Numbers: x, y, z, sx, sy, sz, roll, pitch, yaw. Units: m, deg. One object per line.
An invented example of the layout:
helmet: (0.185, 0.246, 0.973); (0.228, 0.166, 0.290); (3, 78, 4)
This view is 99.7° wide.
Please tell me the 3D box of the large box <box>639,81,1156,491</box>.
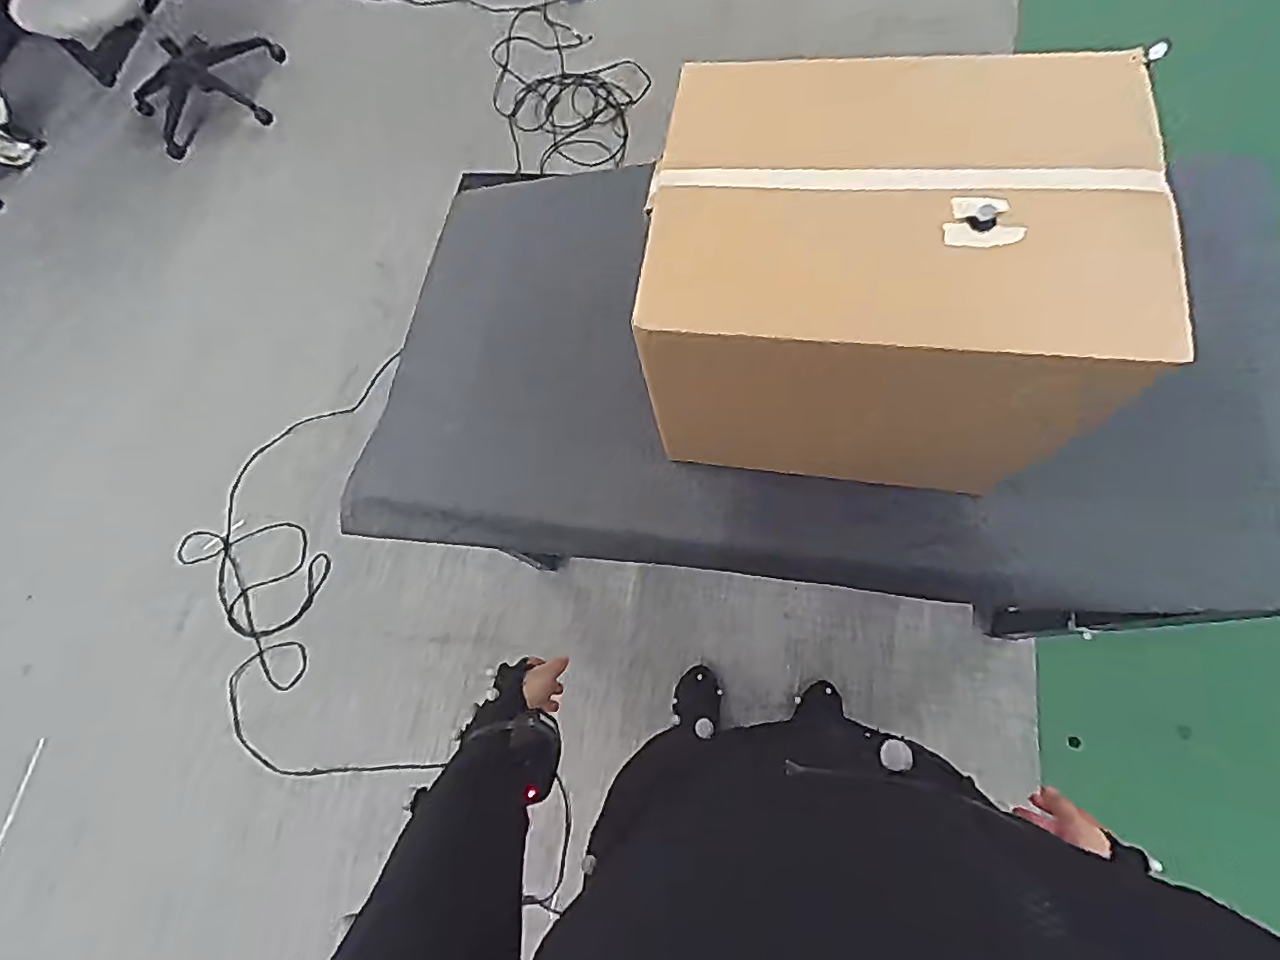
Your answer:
large box: (0.231, -0.193, 0.619); (0.408, 0.320, 0.320); (7, 73, 10)
